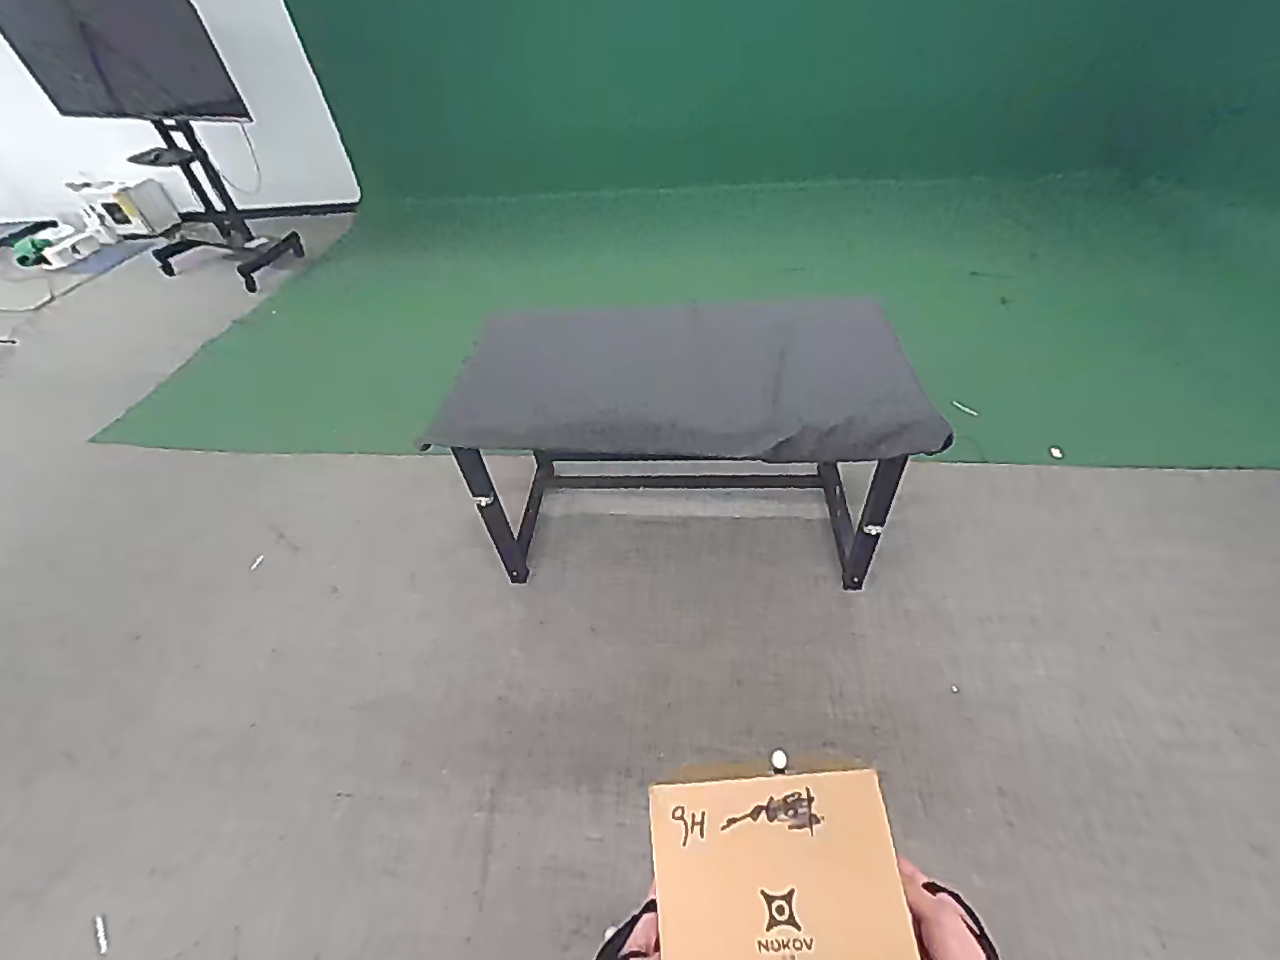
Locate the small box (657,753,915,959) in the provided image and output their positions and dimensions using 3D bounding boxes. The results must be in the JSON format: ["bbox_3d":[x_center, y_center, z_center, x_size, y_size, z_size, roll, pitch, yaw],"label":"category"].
[{"bbox_3d":[0.112,0.332,0.440,0.168,0.176,0.179,-8,67,7],"label":"small box"}]
